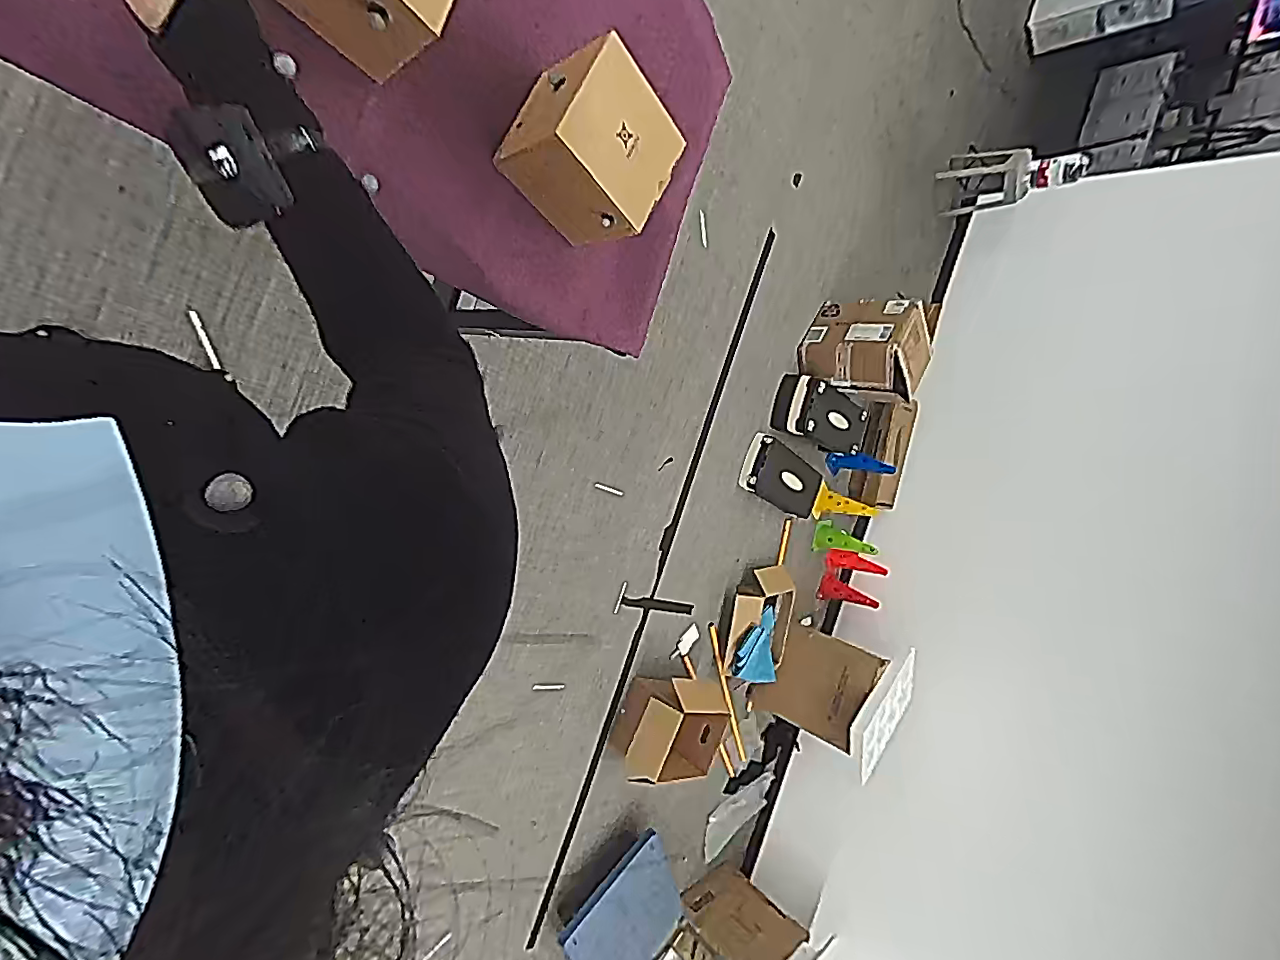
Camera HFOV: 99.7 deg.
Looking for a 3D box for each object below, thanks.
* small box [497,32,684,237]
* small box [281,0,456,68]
[{"bbox_3d":[-0.074,-0.478,0.784,0.179,0.176,0.168,34,78,-45],"label":"small box"},{"bbox_3d":[-0.286,-0.565,0.546,0.179,0.176,0.168,23,85,-46],"label":"small box"}]
